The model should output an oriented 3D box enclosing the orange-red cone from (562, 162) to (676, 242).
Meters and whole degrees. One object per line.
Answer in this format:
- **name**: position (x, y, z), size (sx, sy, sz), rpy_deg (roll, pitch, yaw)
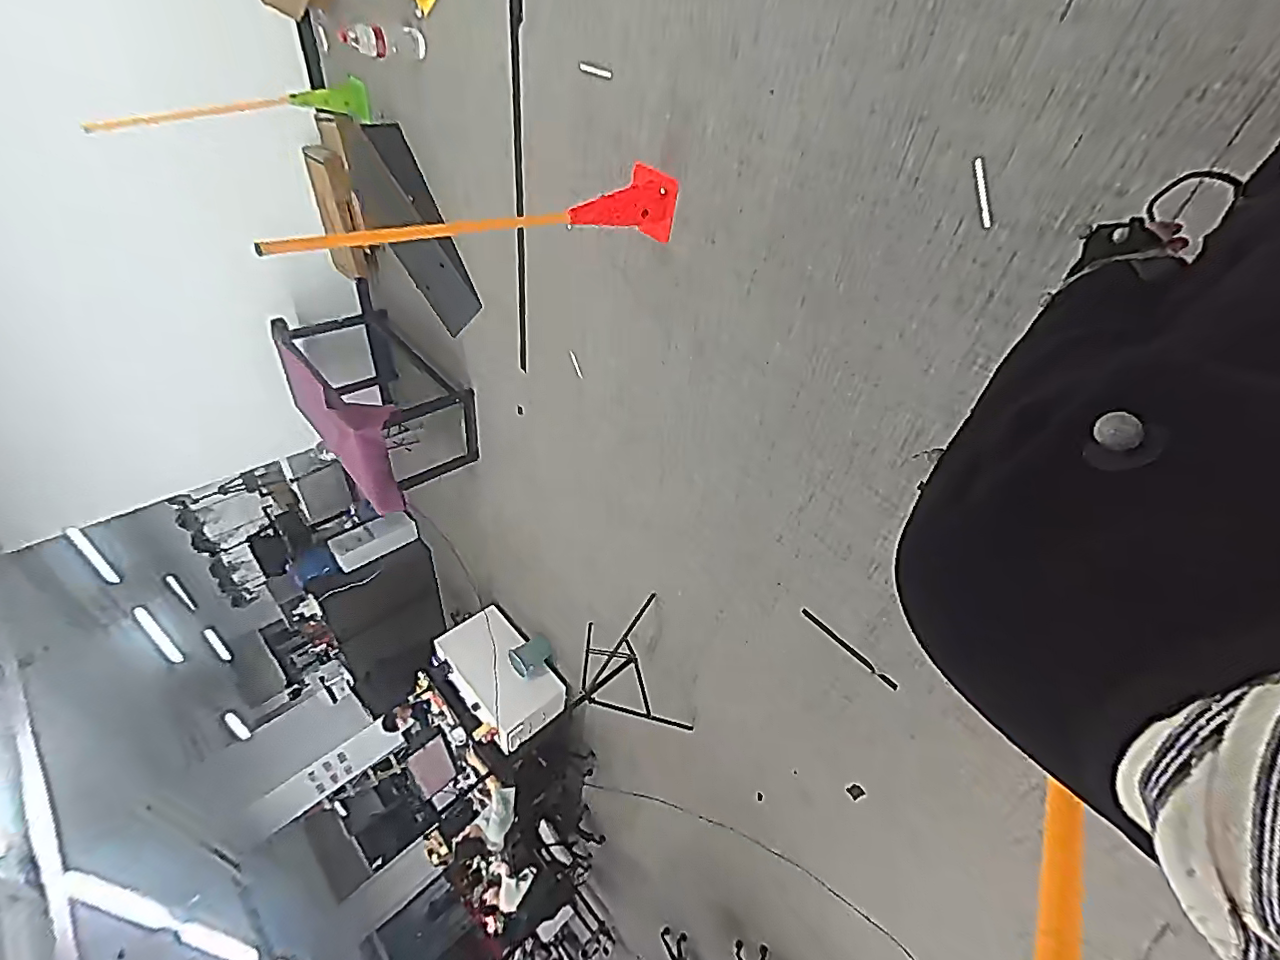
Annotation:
- **orange-red cone**: position (-0.092, -0.843, 1.675), size (0.199, 0.360, 0.198), rpy_deg (42, 140, 26)
